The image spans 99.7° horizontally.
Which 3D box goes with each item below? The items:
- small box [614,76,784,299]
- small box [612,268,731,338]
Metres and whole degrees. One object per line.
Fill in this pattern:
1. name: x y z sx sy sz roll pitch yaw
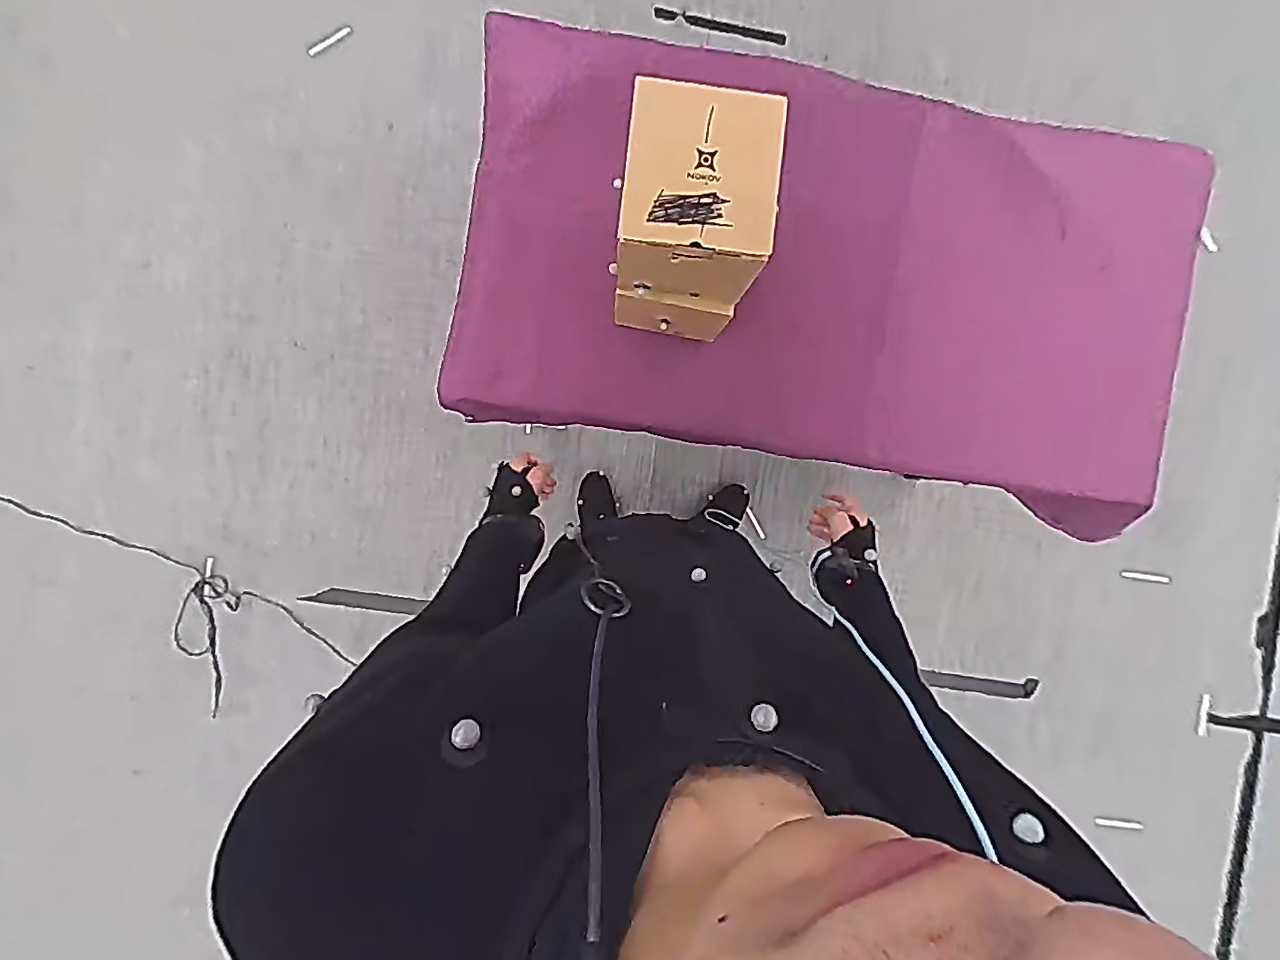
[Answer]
1. small box: 0.060 -0.334 0.655 0.168 0.176 0.179 6 91 -3
2. small box: 0.055 -0.327 0.819 0.168 0.176 0.179 11 91 -4
